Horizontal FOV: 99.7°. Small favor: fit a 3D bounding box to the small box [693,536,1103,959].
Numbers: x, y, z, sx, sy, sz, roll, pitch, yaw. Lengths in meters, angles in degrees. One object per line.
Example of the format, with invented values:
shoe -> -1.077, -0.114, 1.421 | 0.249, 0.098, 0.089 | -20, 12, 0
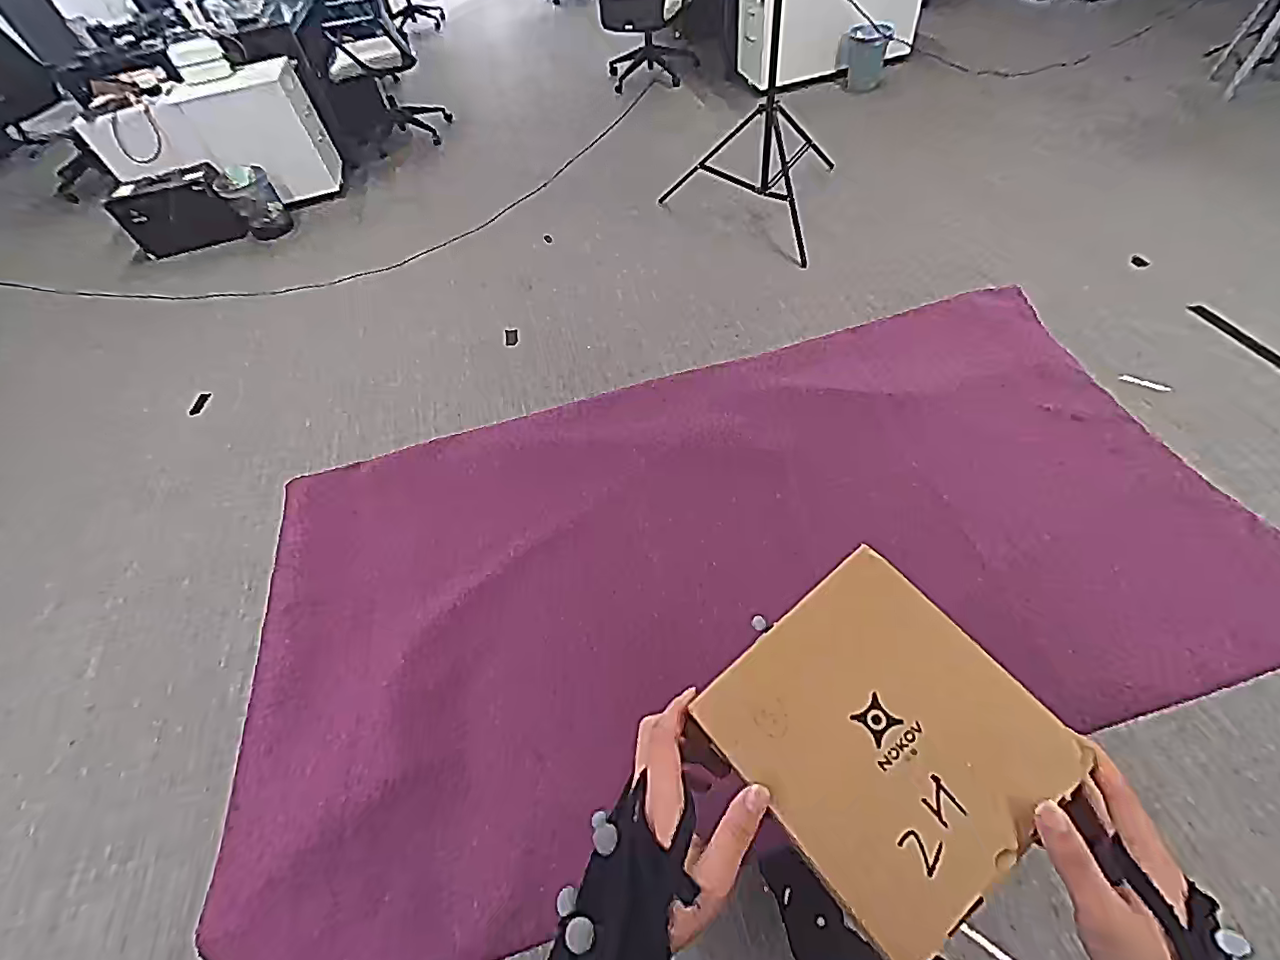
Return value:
small box -> 0.152, 0.175, 0.392 | 0.168, 0.176, 0.179 | -39, 69, -11
